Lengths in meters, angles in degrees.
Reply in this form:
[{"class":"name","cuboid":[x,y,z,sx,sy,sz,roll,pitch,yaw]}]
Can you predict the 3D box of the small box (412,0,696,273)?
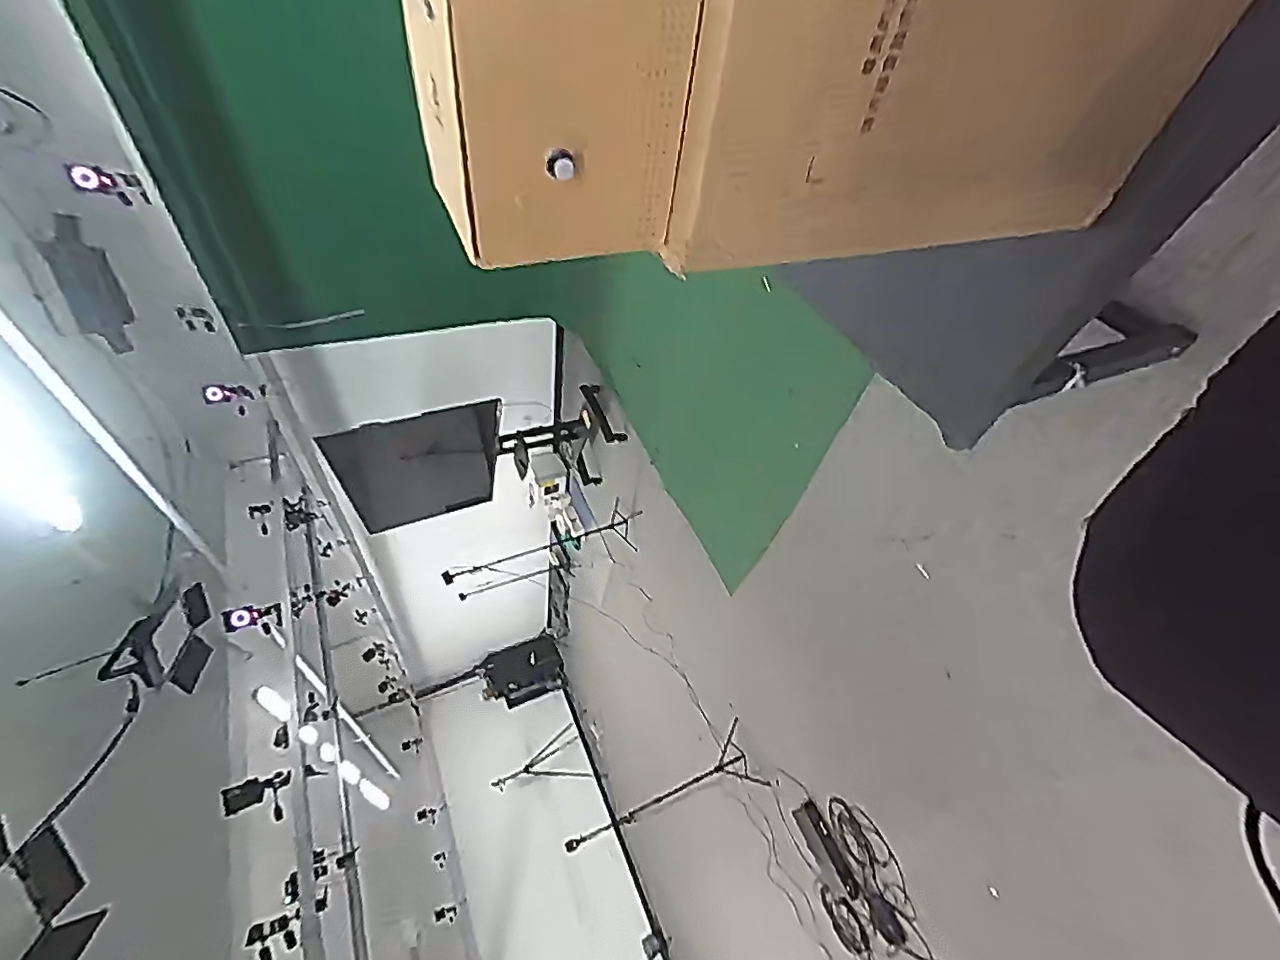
[{"class":"small box","cuboid":[-0.071,-0.299,0.442,0.168,0.176,0.179,58,154,35]}]
